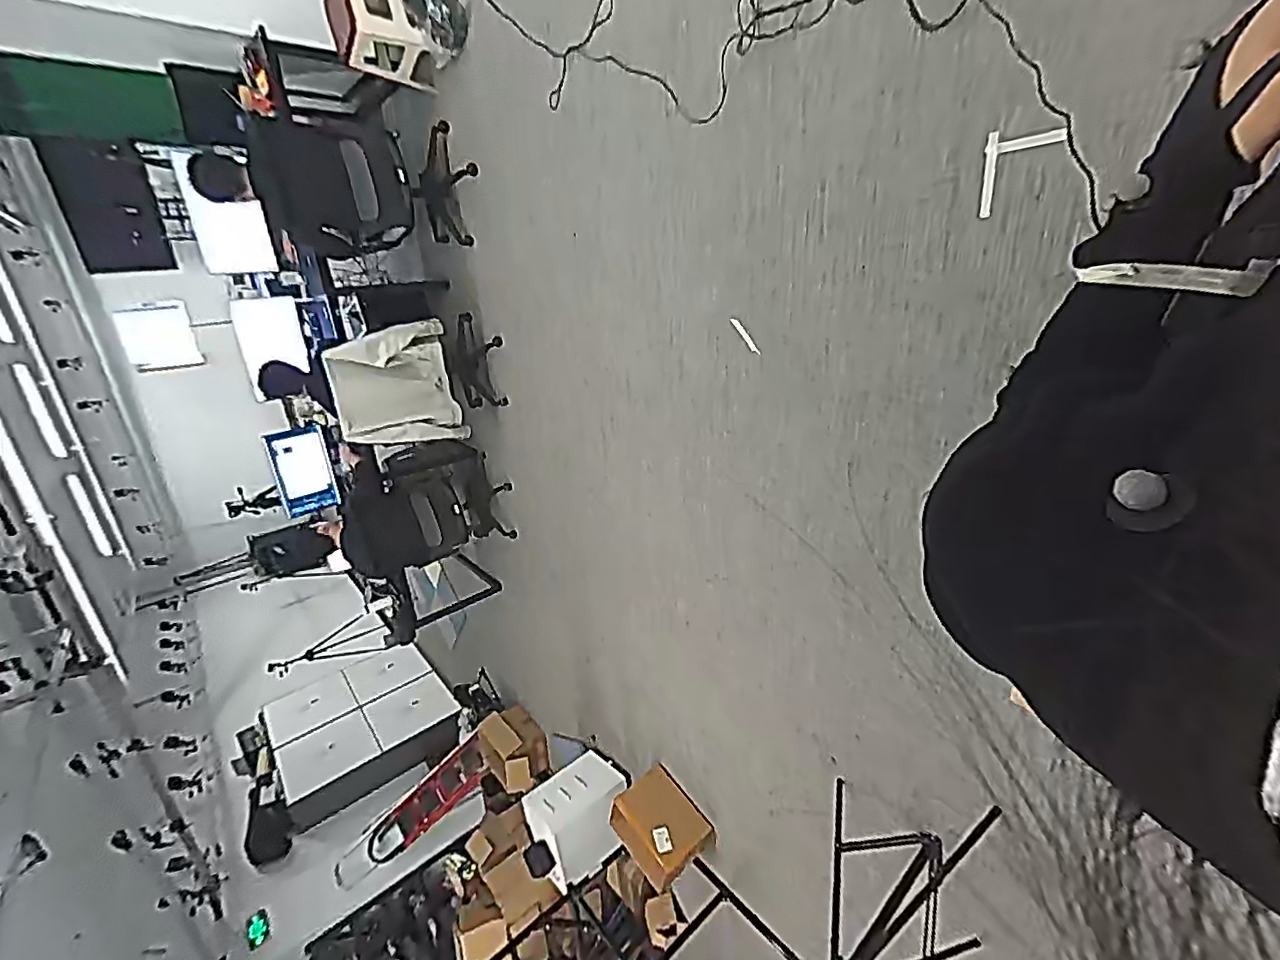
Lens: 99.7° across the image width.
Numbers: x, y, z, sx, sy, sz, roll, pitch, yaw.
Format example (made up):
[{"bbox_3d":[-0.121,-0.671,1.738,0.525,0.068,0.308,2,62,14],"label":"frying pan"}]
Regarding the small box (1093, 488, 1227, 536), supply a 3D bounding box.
[{"bbox_3d":[1.063,0.127,1.120,0.179,0.176,0.168,20,121,45],"label":"small box"}]
